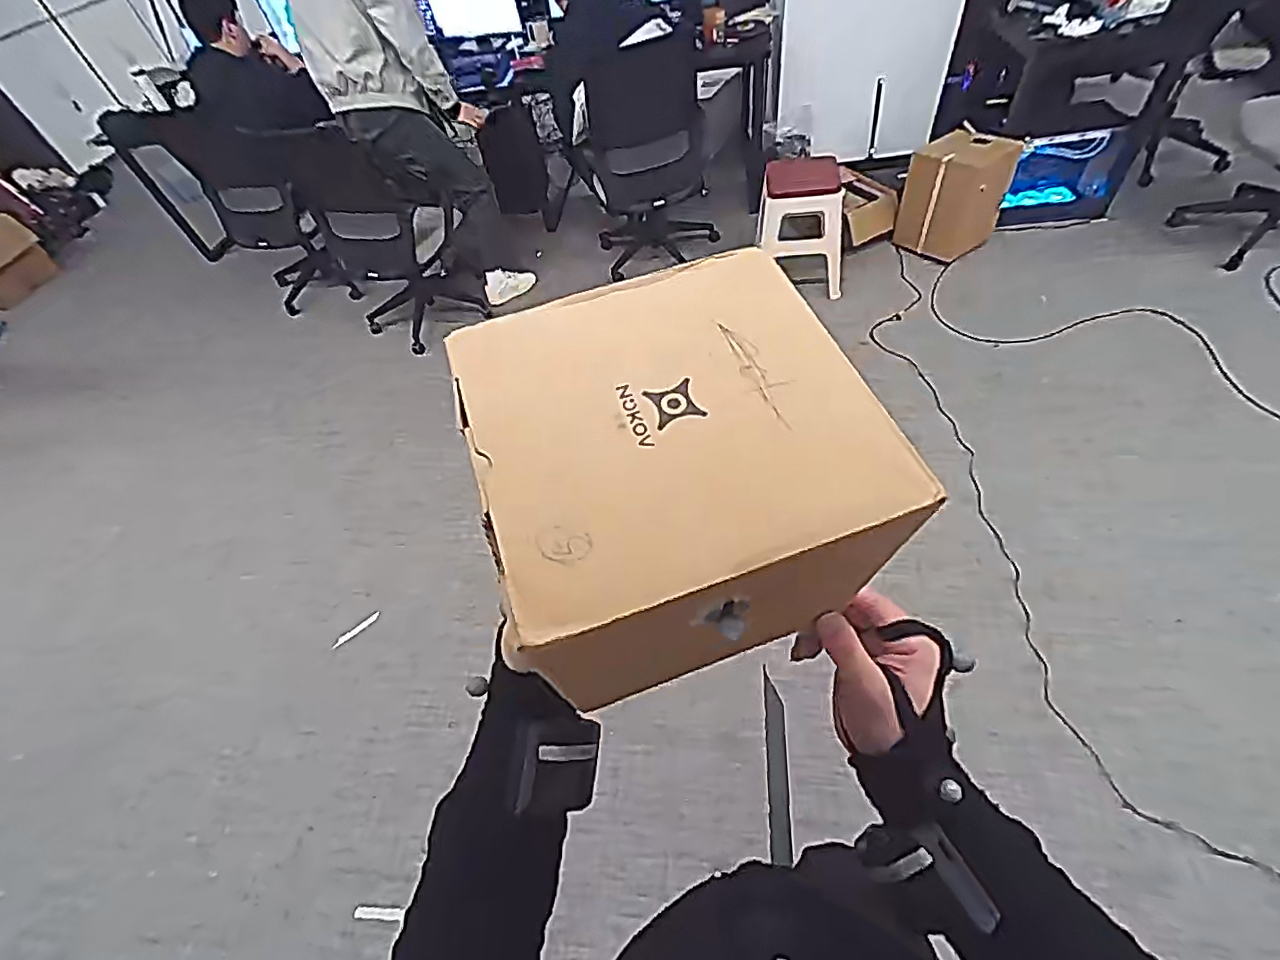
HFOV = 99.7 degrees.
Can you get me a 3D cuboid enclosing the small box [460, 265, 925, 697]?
[{"bbox_3d":[0.017,0.012,0.321,0.179,0.176,0.168,-18,61,-8],"label":"small box"}]
